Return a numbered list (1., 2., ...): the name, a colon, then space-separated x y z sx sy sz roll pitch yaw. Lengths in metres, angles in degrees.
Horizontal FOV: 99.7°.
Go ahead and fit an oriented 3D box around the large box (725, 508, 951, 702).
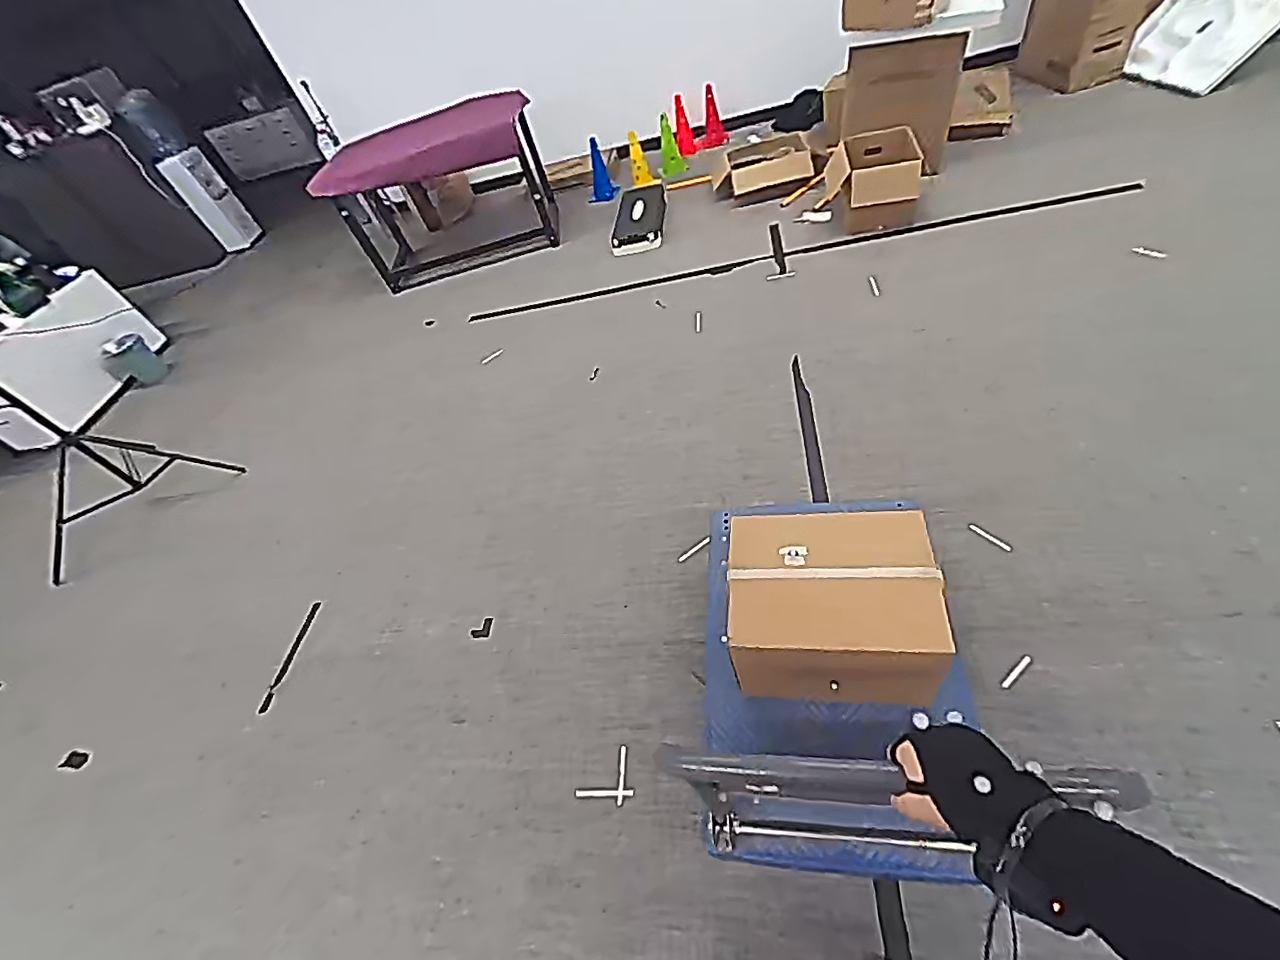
1. large box: 0.414 0.286 1.200 0.408 0.320 0.320 -4 49 16
